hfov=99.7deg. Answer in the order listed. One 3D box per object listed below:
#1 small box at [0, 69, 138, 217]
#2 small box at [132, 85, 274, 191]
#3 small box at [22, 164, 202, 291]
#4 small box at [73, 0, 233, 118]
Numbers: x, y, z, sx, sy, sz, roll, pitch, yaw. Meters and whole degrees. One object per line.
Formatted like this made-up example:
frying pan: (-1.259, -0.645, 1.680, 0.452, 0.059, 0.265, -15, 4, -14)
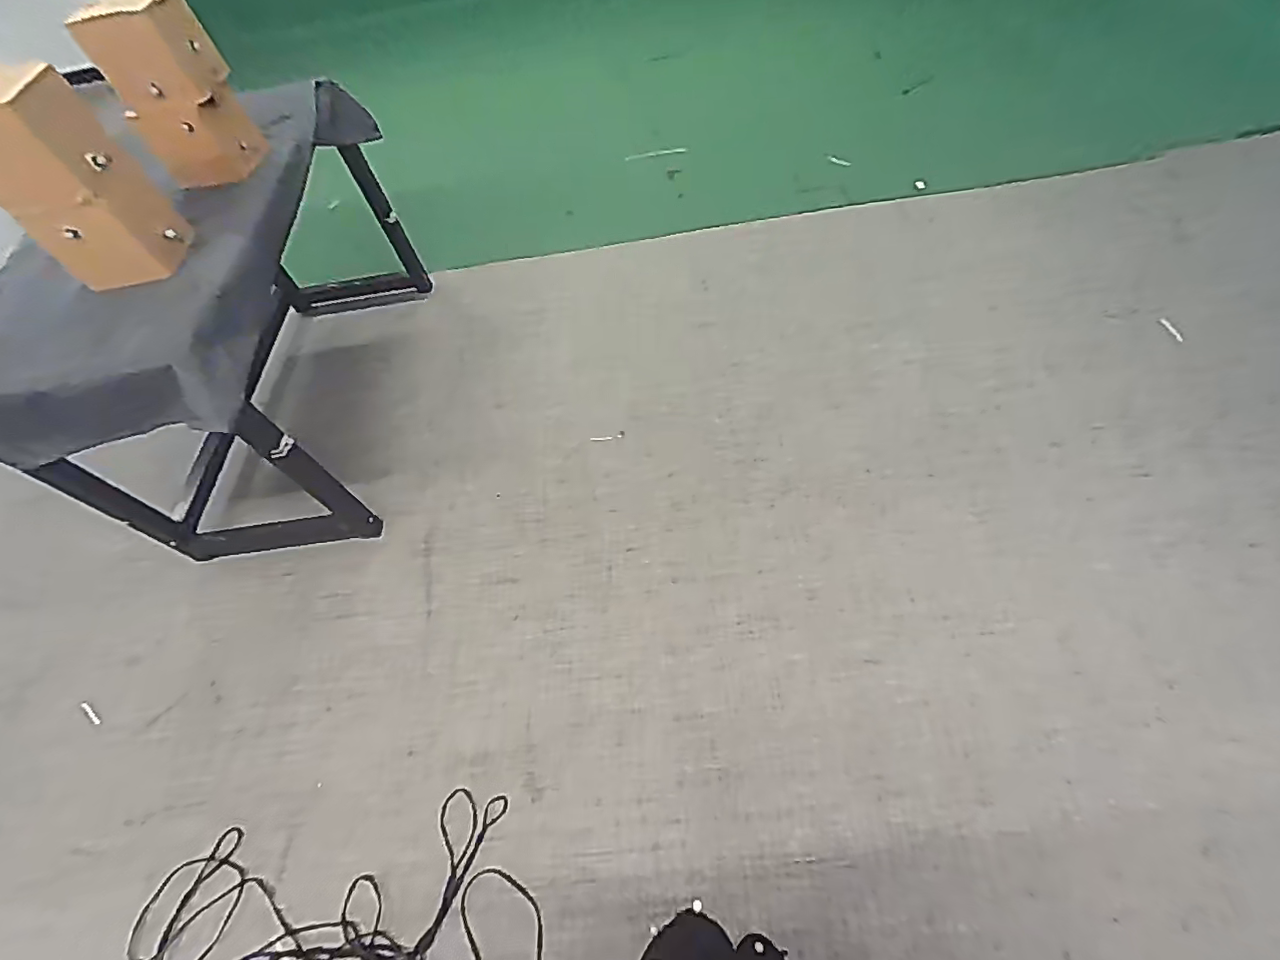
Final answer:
small box: (-1.101, -0.610, 0.992, 0.179, 0.176, 0.168, -10, 58, 1)
small box: (-1.062, -0.837, 1.331, 0.179, 0.176, 0.168, -5, 56, 5)
small box: (-1.080, -0.518, 1.125, 0.179, 0.176, 0.168, -10, 57, 1)
small box: (-1.064, -0.939, 1.202, 0.179, 0.176, 0.168, -7, 56, 3)
